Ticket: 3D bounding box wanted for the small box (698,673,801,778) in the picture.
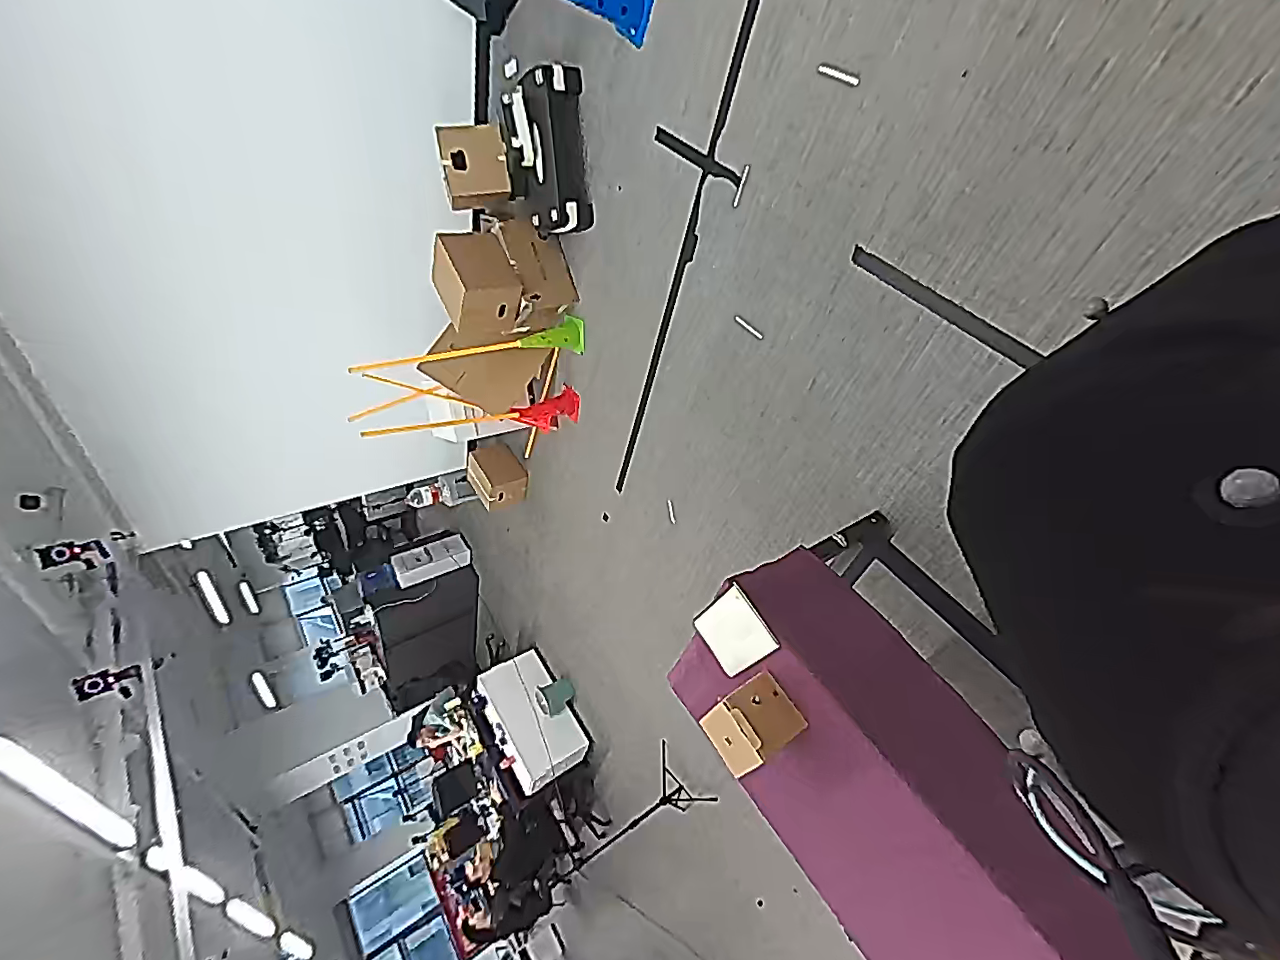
[{"bbox_3d":[0.287,0.630,1.399,0.168,0.176,0.179,53,143,25],"label":"small box"}]
